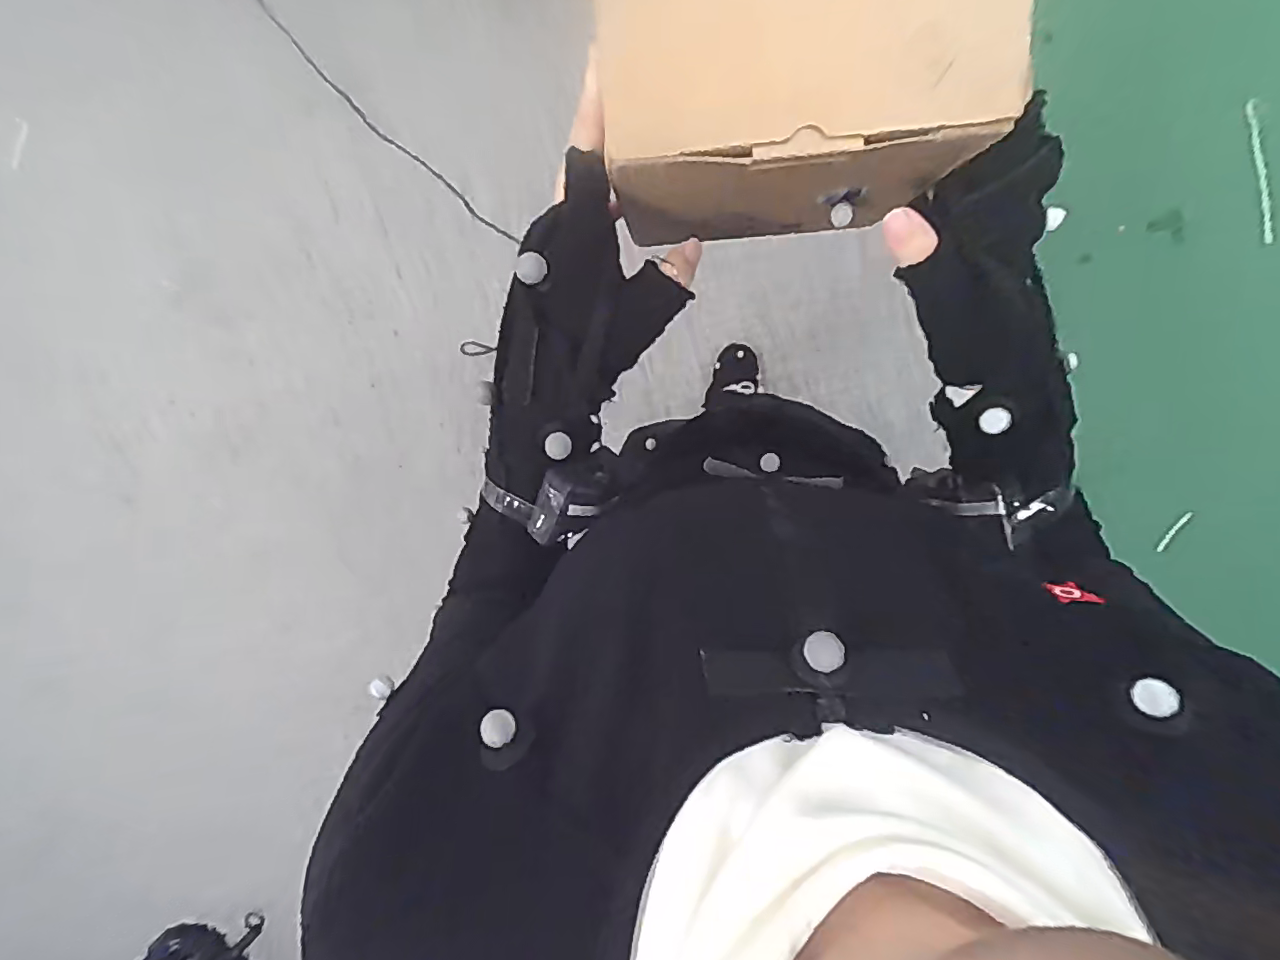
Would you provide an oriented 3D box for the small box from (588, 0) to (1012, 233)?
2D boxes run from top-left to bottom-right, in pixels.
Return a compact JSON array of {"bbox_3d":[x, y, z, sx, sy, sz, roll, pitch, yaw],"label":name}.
[{"bbox_3d":[0.064,-0.239,0.282,0.168,0.176,0.179,-3,102,4],"label":"small box"}]
